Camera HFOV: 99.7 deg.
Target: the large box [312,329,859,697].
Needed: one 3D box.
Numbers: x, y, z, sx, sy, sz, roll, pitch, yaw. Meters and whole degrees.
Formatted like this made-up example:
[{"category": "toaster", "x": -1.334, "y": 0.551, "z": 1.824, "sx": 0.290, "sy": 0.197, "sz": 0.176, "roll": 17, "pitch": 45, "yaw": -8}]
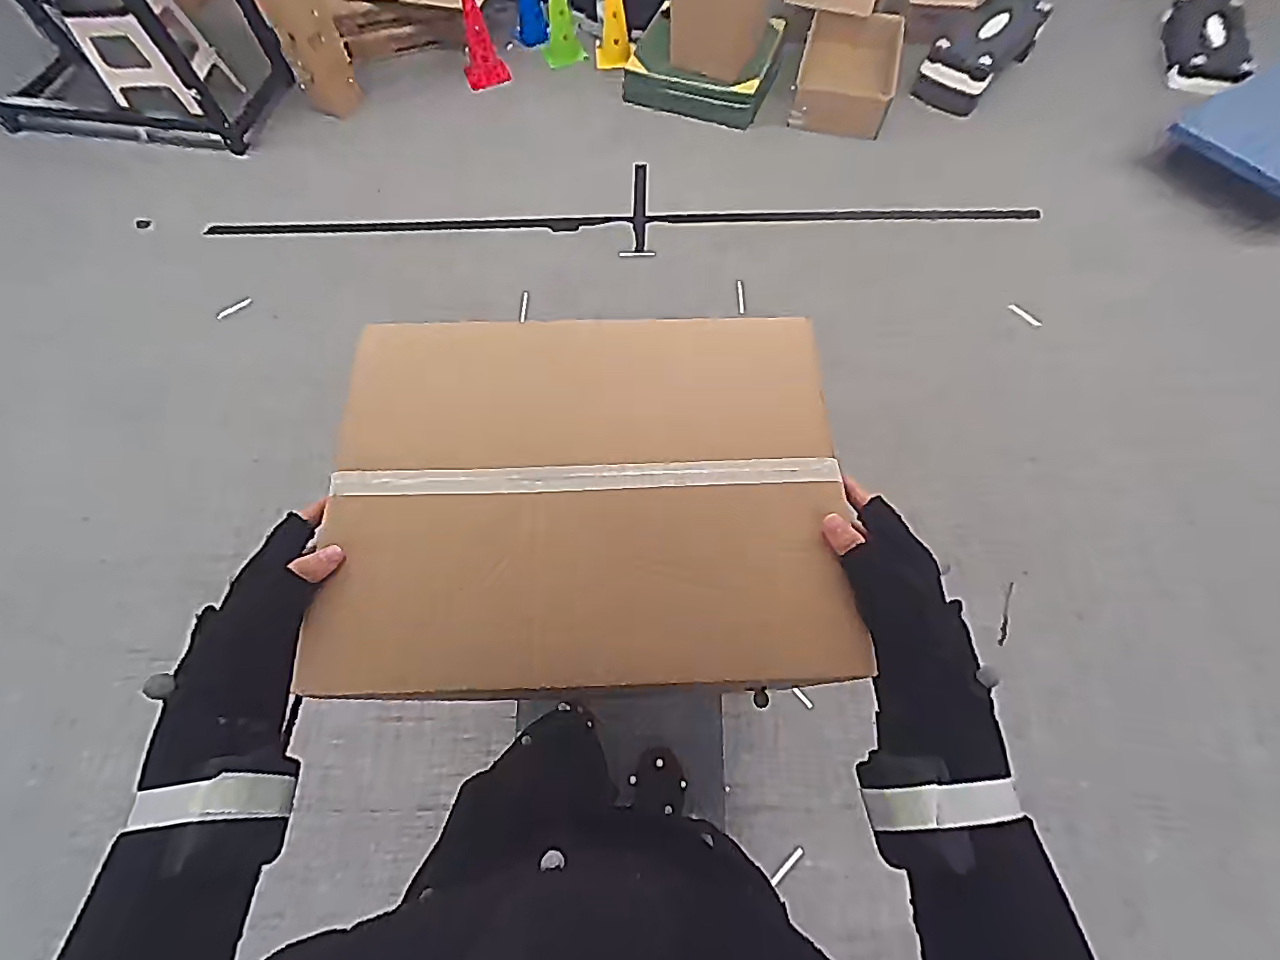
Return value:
[{"category": "large box", "x": -0.043, "y": 0.061, "z": 0.582, "sx": 0.408, "sy": 0.320, "sz": 0.320, "roll": -1, "pitch": 66, "yaw": -2}]
